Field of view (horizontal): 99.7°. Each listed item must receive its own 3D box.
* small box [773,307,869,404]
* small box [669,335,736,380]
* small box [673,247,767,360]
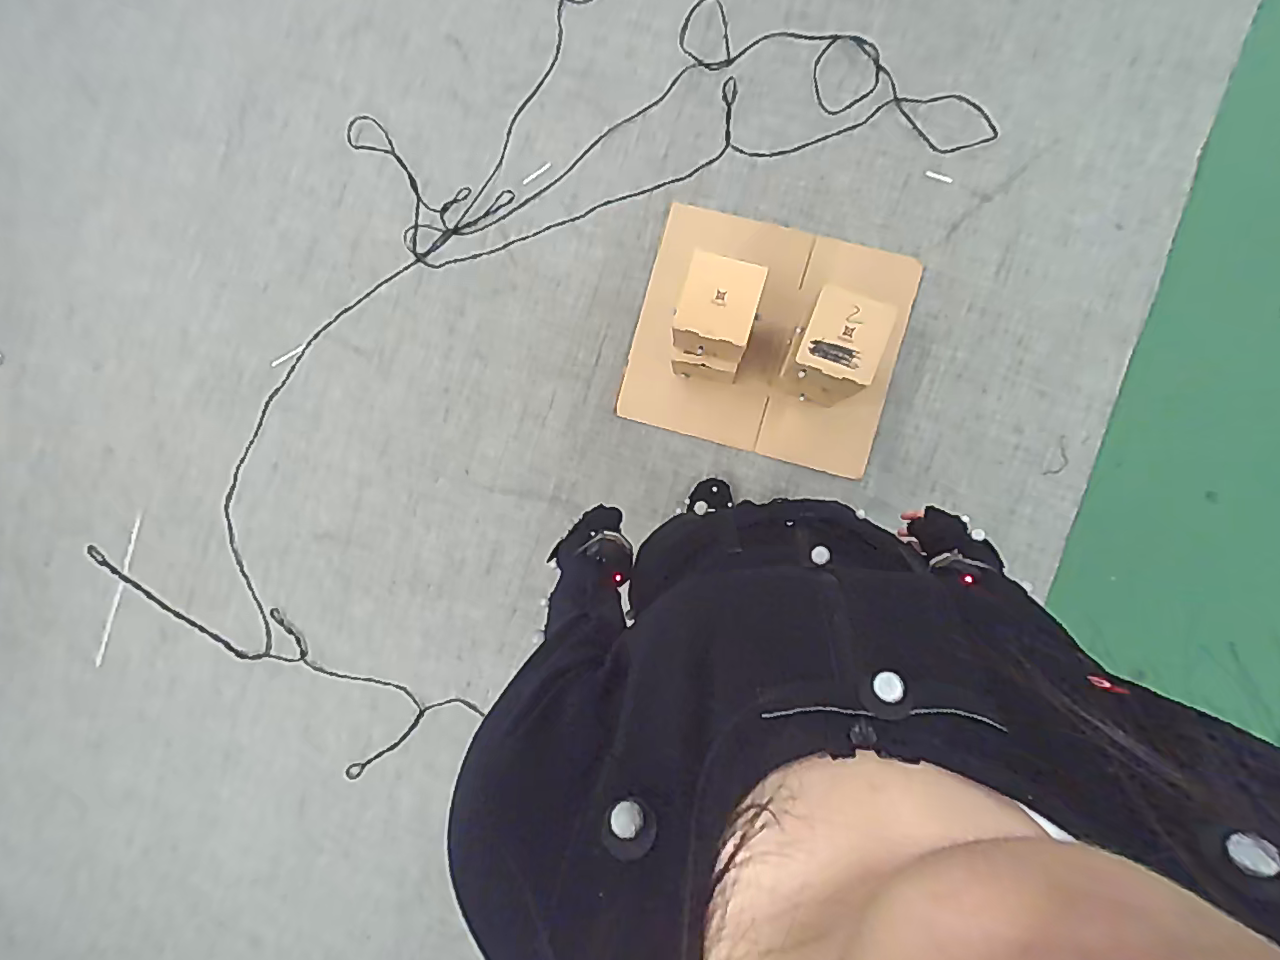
[{"bbox_3d":[0.448,-0.307,1.372,0.168,0.176,0.179,21,93,6],"label":"small box"},{"bbox_3d":[0.176,-0.367,1.393,0.168,0.176,0.179,13,91,5],"label":"small box"},{"bbox_3d":[0.174,-0.393,1.230,0.168,0.176,0.179,16,91,5],"label":"small box"}]
